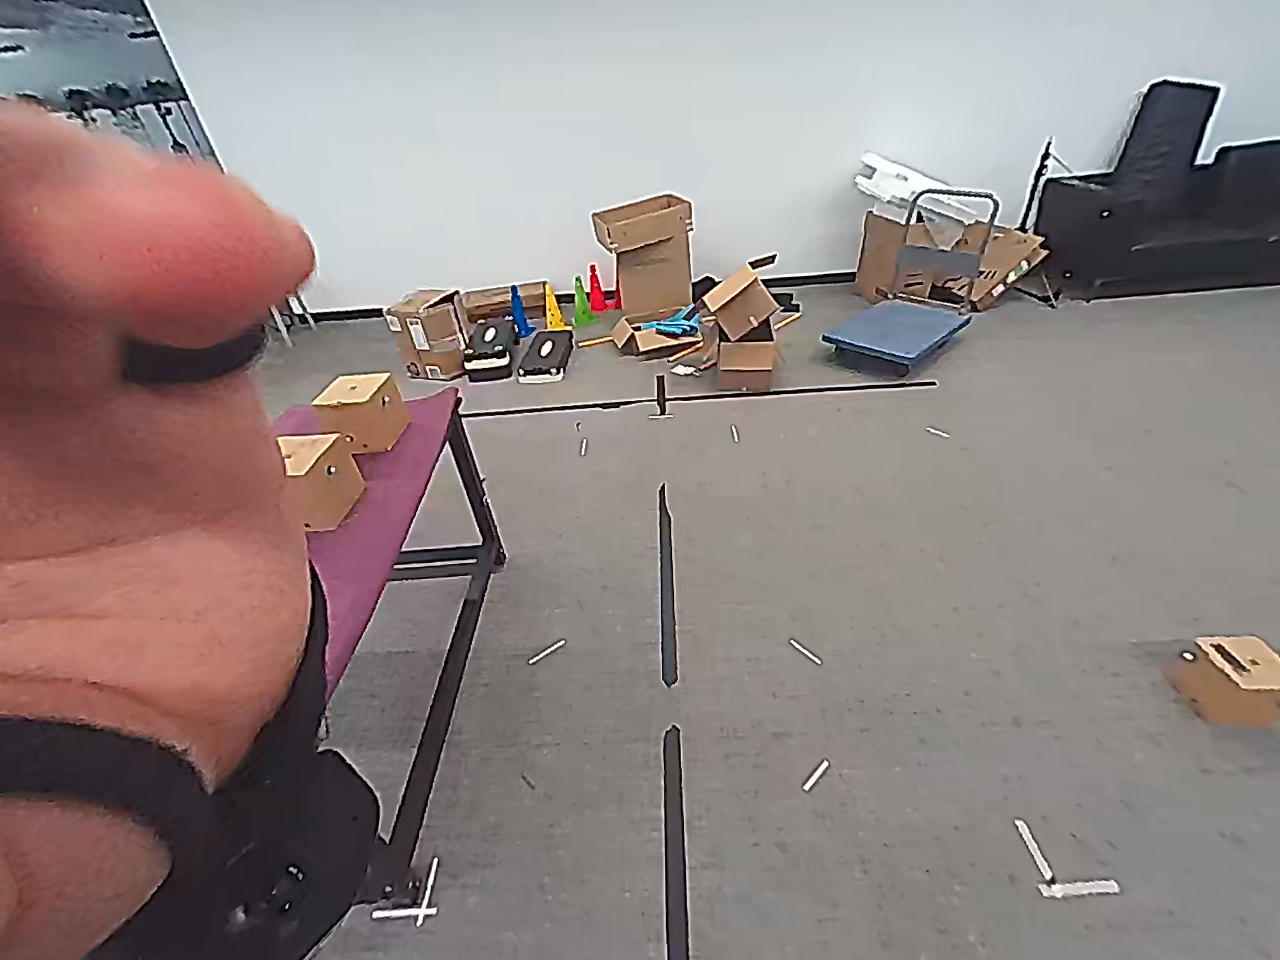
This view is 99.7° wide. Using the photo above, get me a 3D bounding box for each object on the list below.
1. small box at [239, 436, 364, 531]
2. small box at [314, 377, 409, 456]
[{"bbox_3d":[-0.805,0.013,1.313,0.168,0.176,0.179,-2,36,4],"label":"small box"},{"bbox_3d":[-0.803,-0.186,1.583,0.168,0.176,0.179,-3,37,5],"label":"small box"}]
